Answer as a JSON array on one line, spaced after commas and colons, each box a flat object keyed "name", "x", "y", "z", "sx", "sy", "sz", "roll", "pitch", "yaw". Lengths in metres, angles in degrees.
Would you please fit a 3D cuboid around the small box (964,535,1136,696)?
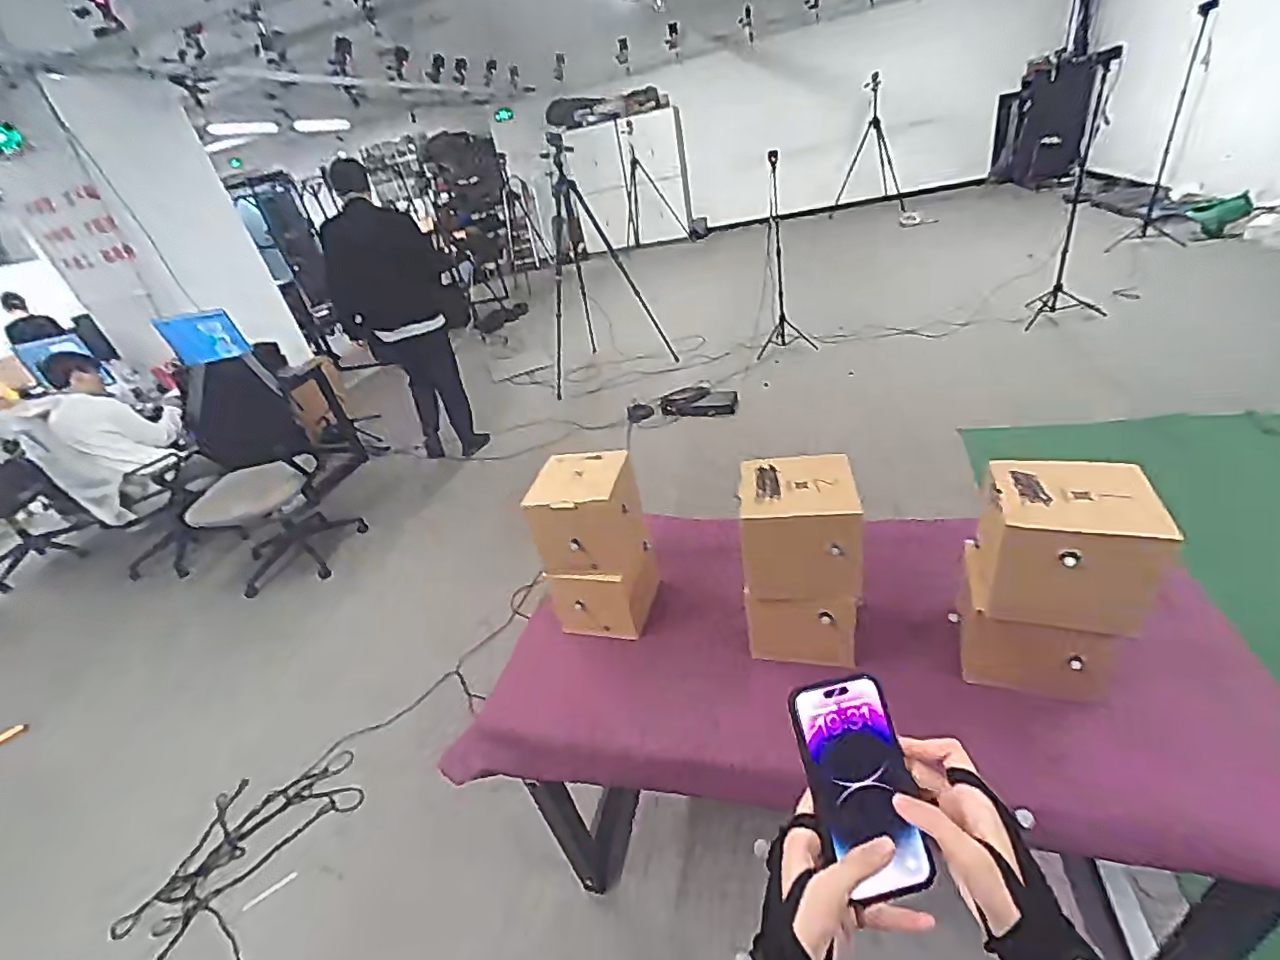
[{"name": "small box", "x": 0.617, "y": 0.208, "z": 0.841, "sx": 0.179, "sy": 0.176, "sz": 0.168, "roll": 2, "pitch": 34, "yaw": 26}]

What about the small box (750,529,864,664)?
[{"name": "small box", "x": 0.301, "y": 0.206, "z": 0.966, "sx": 0.179, "sy": 0.176, "sz": 0.168, "roll": -2, "pitch": 33, "yaw": 20}]

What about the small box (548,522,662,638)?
[{"name": "small box", "x": -0.061, "y": 0.204, "z": 1.116, "sx": 0.168, "sy": 0.176, "sz": 0.179, "roll": -1, "pitch": 33, "yaw": 20}]

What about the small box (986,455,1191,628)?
[{"name": "small box", "x": 0.588, "y": 0.080, "z": 0.742, "sx": 0.179, "sy": 0.176, "sz": 0.168, "roll": 3, "pitch": 34, "yaw": 24}]

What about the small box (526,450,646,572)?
[{"name": "small box", "x": -0.092, "y": 0.063, "z": 1.038, "sx": 0.168, "sy": 0.176, "sz": 0.179, "roll": -3, "pitch": 33, "yaw": 16}]
